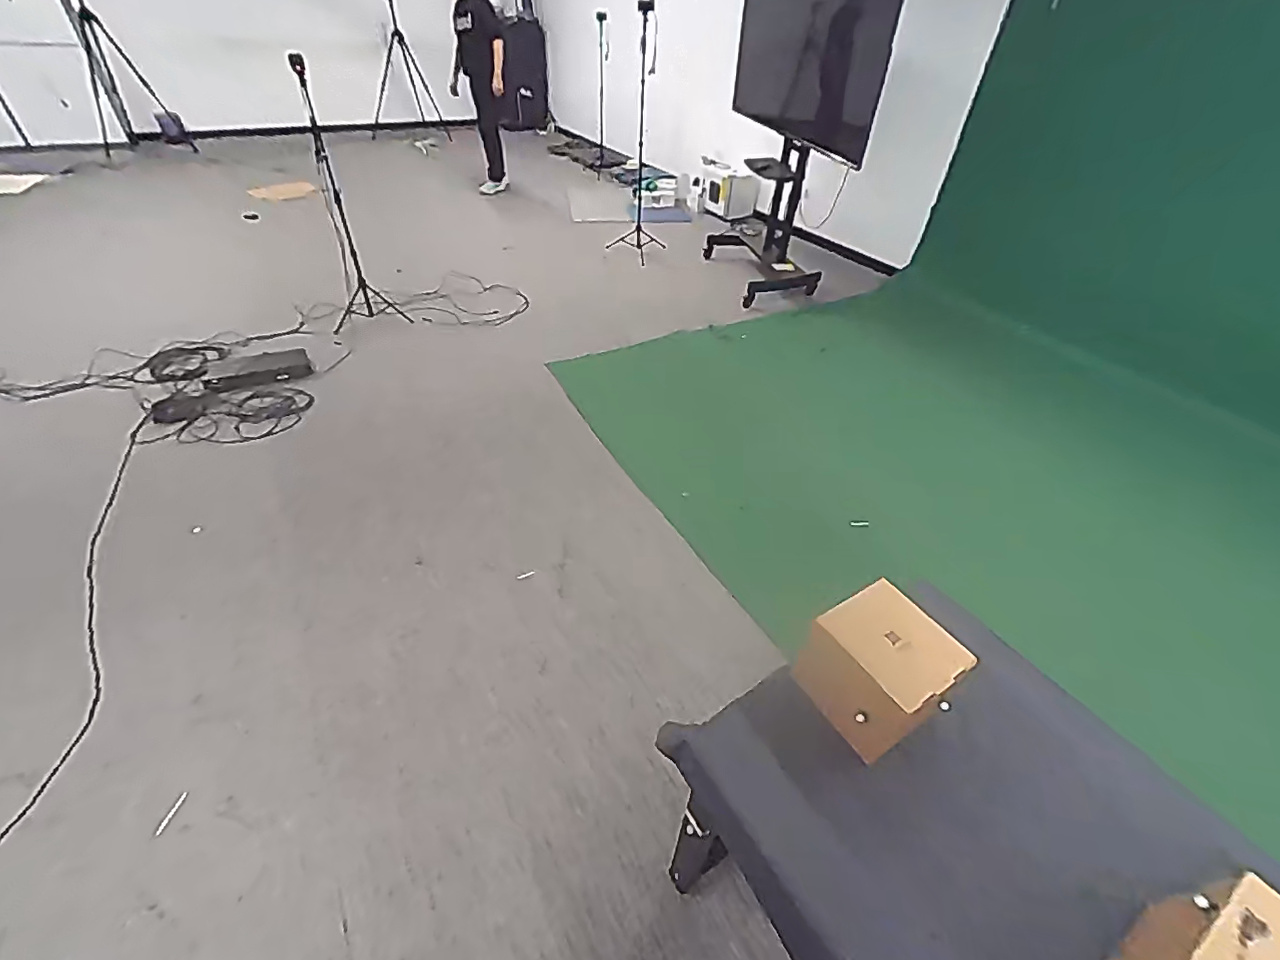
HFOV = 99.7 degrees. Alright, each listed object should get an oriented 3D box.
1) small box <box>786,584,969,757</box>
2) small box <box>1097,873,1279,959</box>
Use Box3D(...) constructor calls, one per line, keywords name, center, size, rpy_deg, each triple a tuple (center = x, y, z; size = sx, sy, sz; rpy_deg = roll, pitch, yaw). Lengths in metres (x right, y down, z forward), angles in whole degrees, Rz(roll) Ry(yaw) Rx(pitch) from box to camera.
Box3D(name="small box", center=(0.365, 0.306, 0.858), size=(0.168, 0.176, 0.179), rpy_deg=(-19, 46, -29))
Box3D(name="small box", center=(0.648, 0.576, 0.578), size=(0.168, 0.176, 0.179), rpy_deg=(-19, 47, -27))
